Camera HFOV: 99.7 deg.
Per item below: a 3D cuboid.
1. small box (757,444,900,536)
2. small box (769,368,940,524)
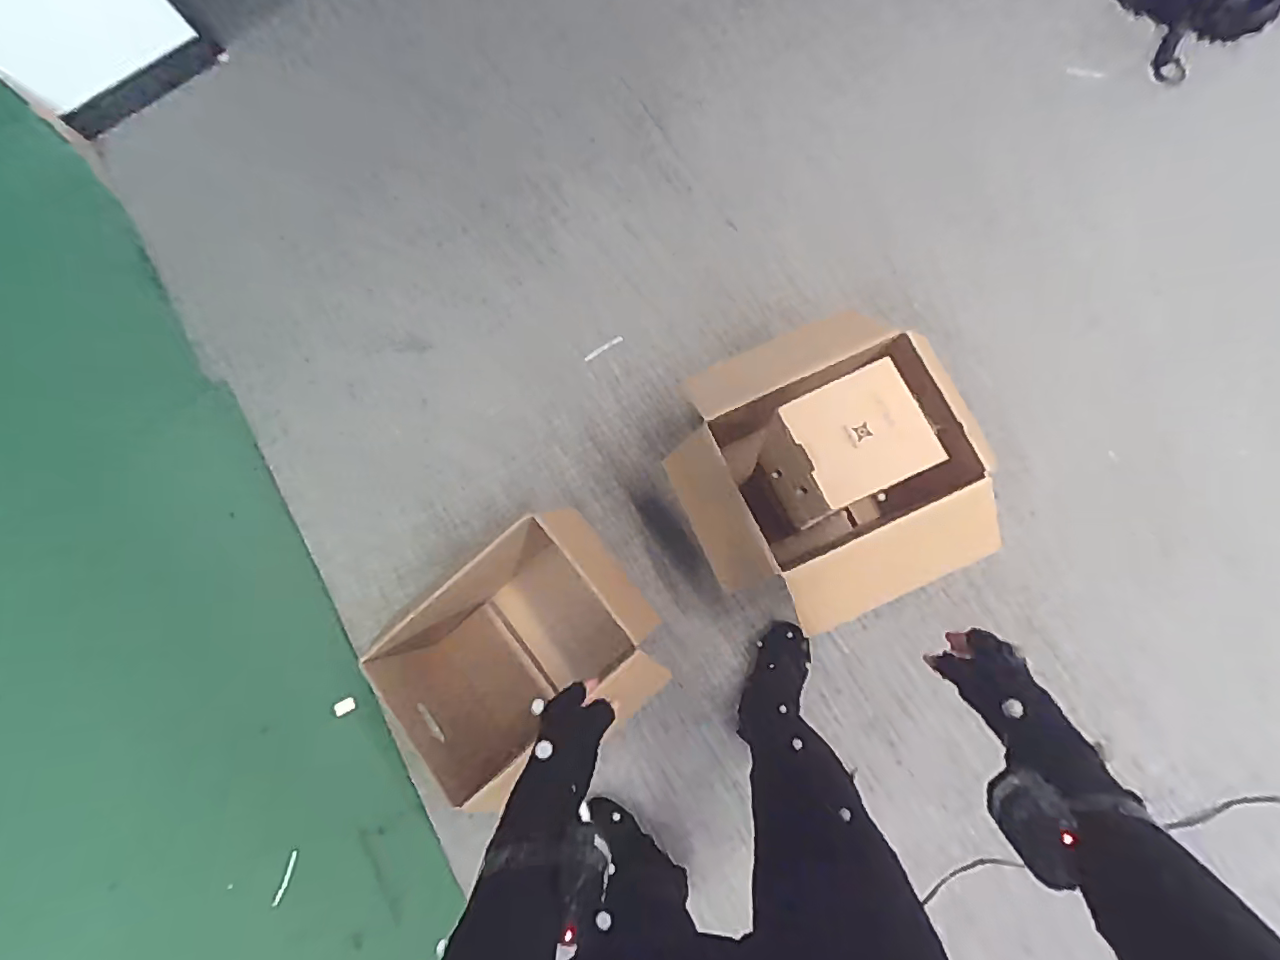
[{"bbox_3d":[0.334,-0.009,0.998,0.179,0.176,0.168,-26,77,1],"label":"small box"},{"bbox_3d":[0.314,-0.041,0.840,0.179,0.176,0.168,-26,80,1],"label":"small box"}]
